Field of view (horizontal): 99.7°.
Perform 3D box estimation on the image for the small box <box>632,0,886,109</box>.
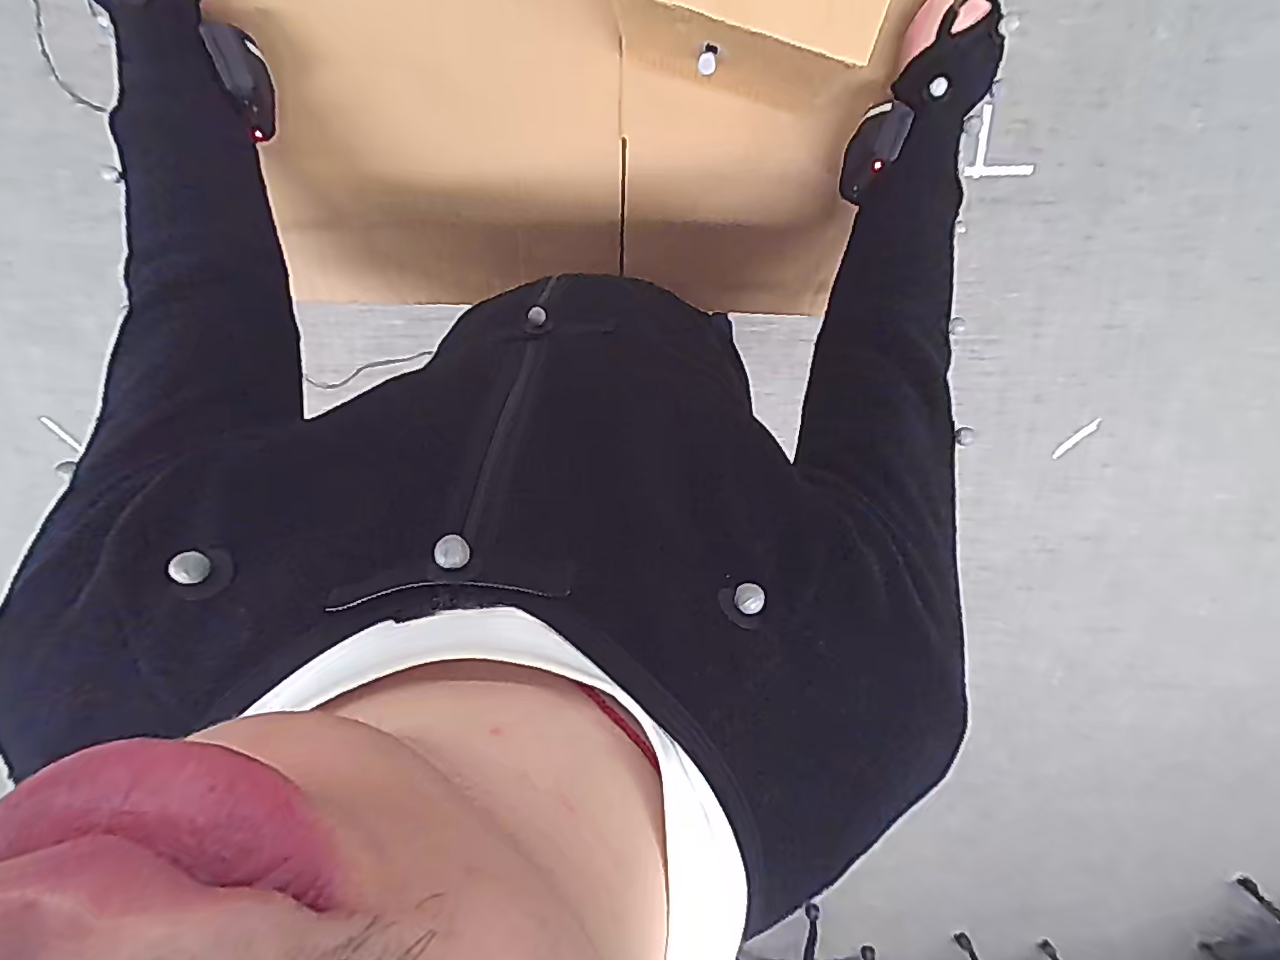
[{"bbox_3d":[0.093,-0.403,0.400,0.179,0.176,0.168,15,115,-3],"label":"small box"}]
